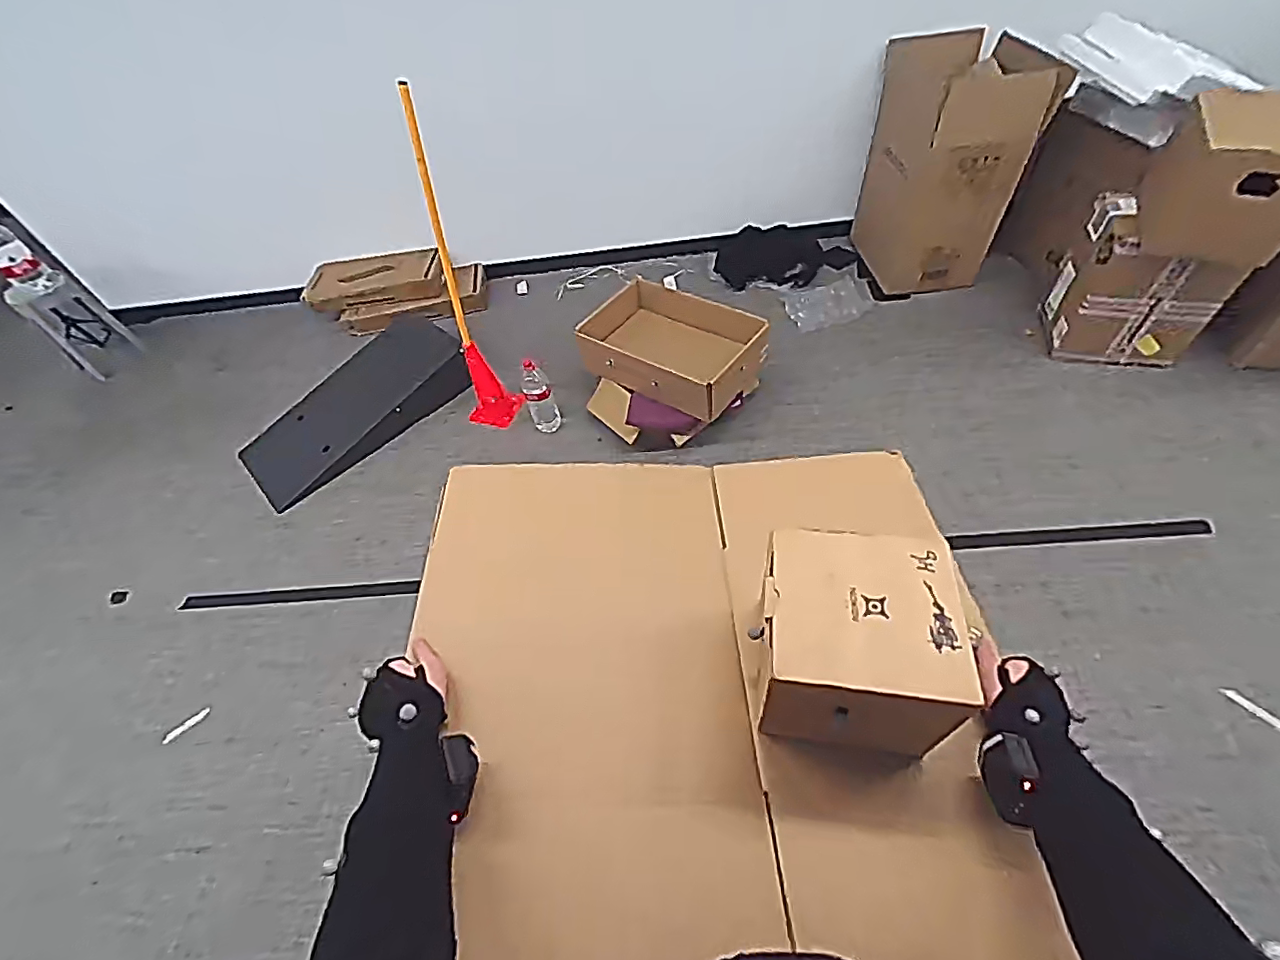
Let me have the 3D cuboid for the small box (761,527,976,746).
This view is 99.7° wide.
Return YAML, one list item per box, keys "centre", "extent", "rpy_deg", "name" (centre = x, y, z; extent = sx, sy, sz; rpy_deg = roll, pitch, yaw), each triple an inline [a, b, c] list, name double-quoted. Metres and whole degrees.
- centre: [0.224, 0.170, 0.581]
  extent: [0.179, 0.176, 0.168]
  rpy_deg: [4, 51, 11]
  name: "small box"
